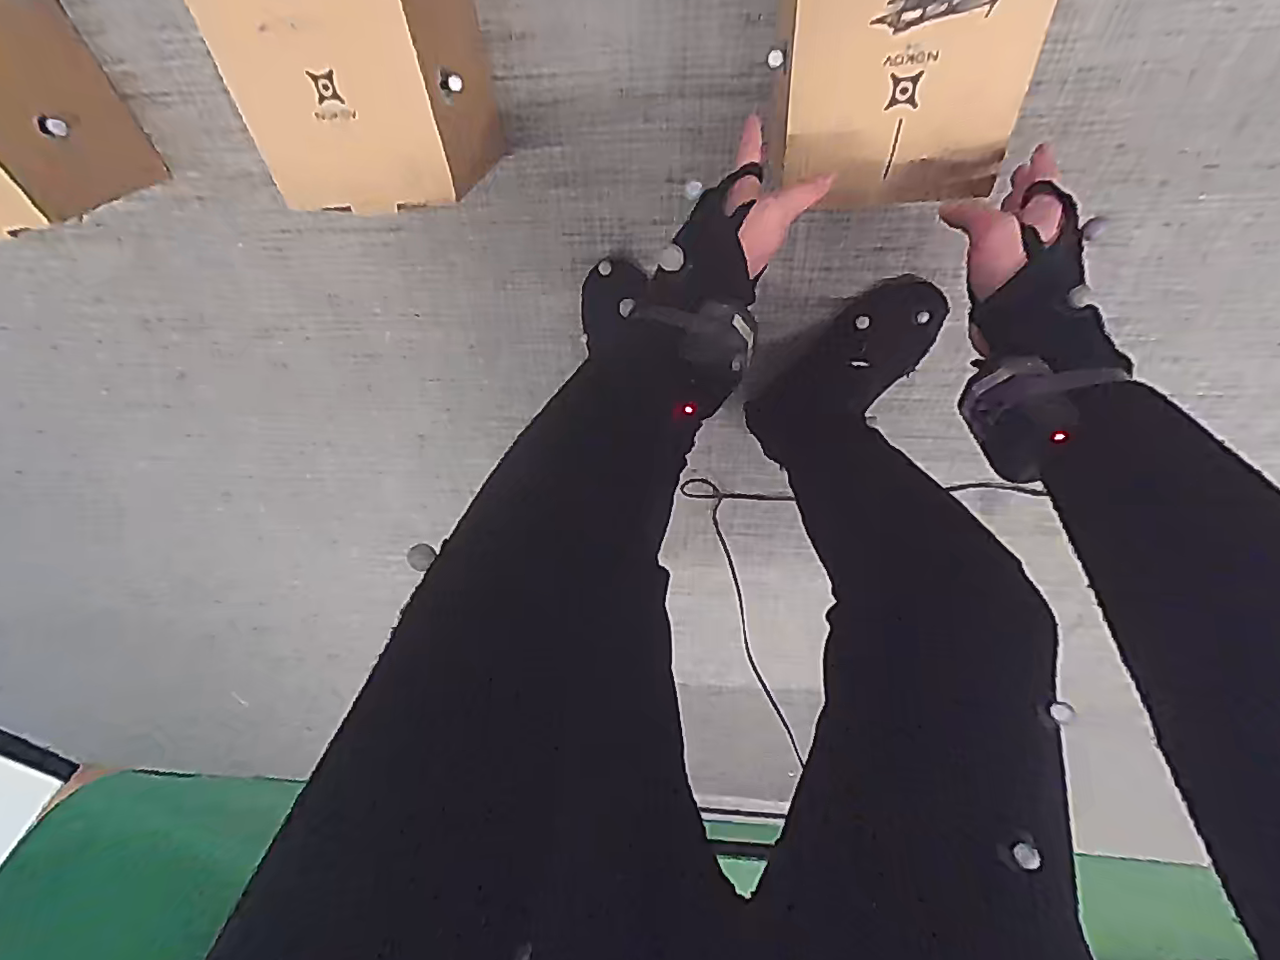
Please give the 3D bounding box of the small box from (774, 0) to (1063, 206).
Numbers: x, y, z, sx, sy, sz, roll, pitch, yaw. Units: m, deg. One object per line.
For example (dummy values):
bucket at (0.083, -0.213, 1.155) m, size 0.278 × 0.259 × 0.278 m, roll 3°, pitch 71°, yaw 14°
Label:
small box at (0.201, -0.344, 0.434) m, size 0.168 × 0.176 × 0.179 m, roll 1°, pitch 136°, yaw 9°

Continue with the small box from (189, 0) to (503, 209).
small box at (-0.237, -0.365, 0.483) m, size 0.168 × 0.176 × 0.179 m, roll 0°, pitch 134°, yaw 7°

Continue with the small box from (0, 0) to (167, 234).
small box at (-0.649, -0.367, 0.541) m, size 0.168 × 0.176 × 0.179 m, roll -2°, pitch 135°, yaw 10°
